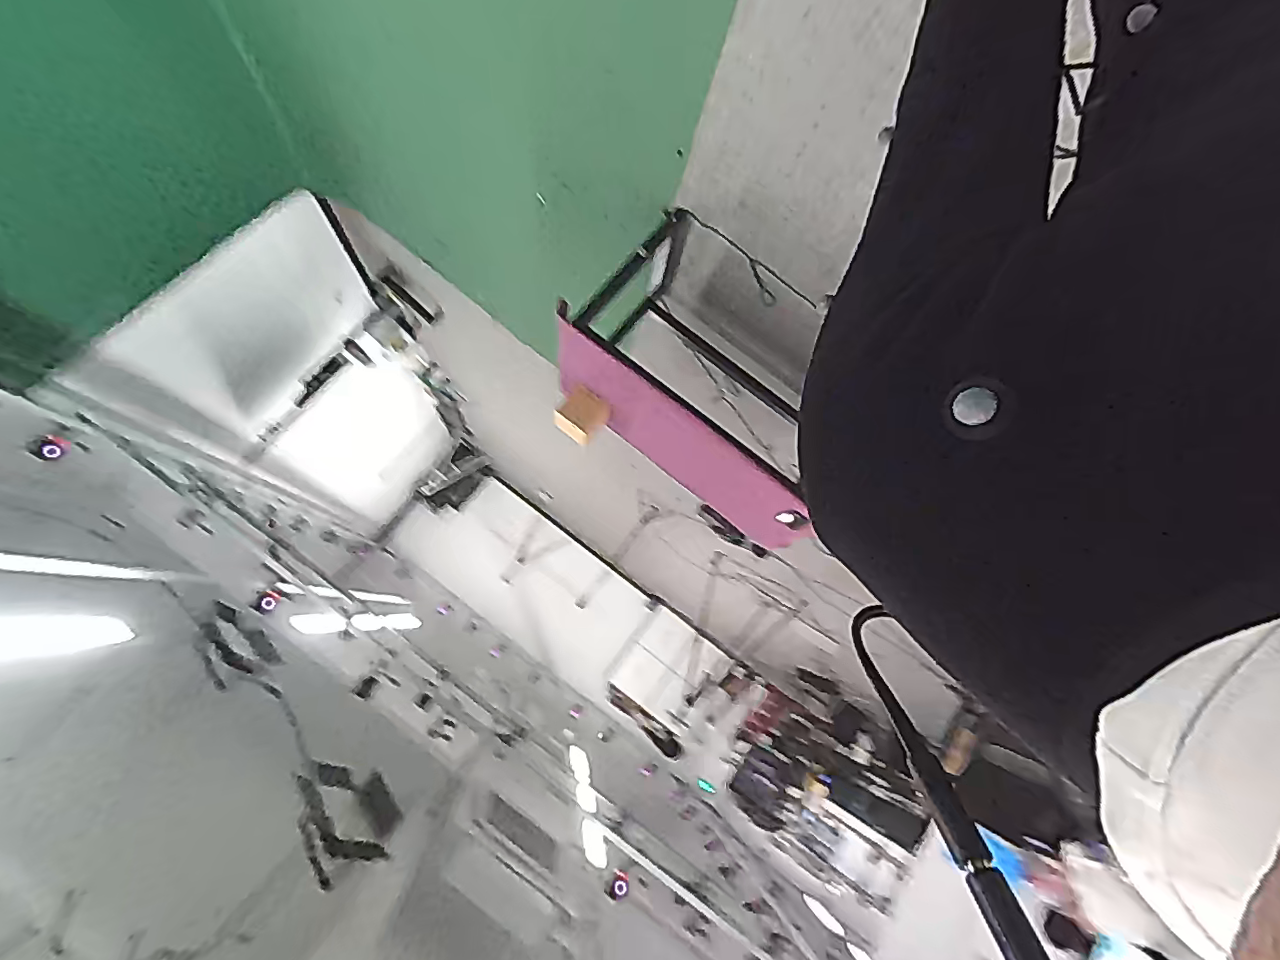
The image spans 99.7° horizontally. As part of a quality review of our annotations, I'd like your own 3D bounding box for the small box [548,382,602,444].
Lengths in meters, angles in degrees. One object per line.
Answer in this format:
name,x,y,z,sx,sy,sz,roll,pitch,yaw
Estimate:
small box,-0.280,-0.291,2.337,0.168,0.176,0.179,37,163,3
